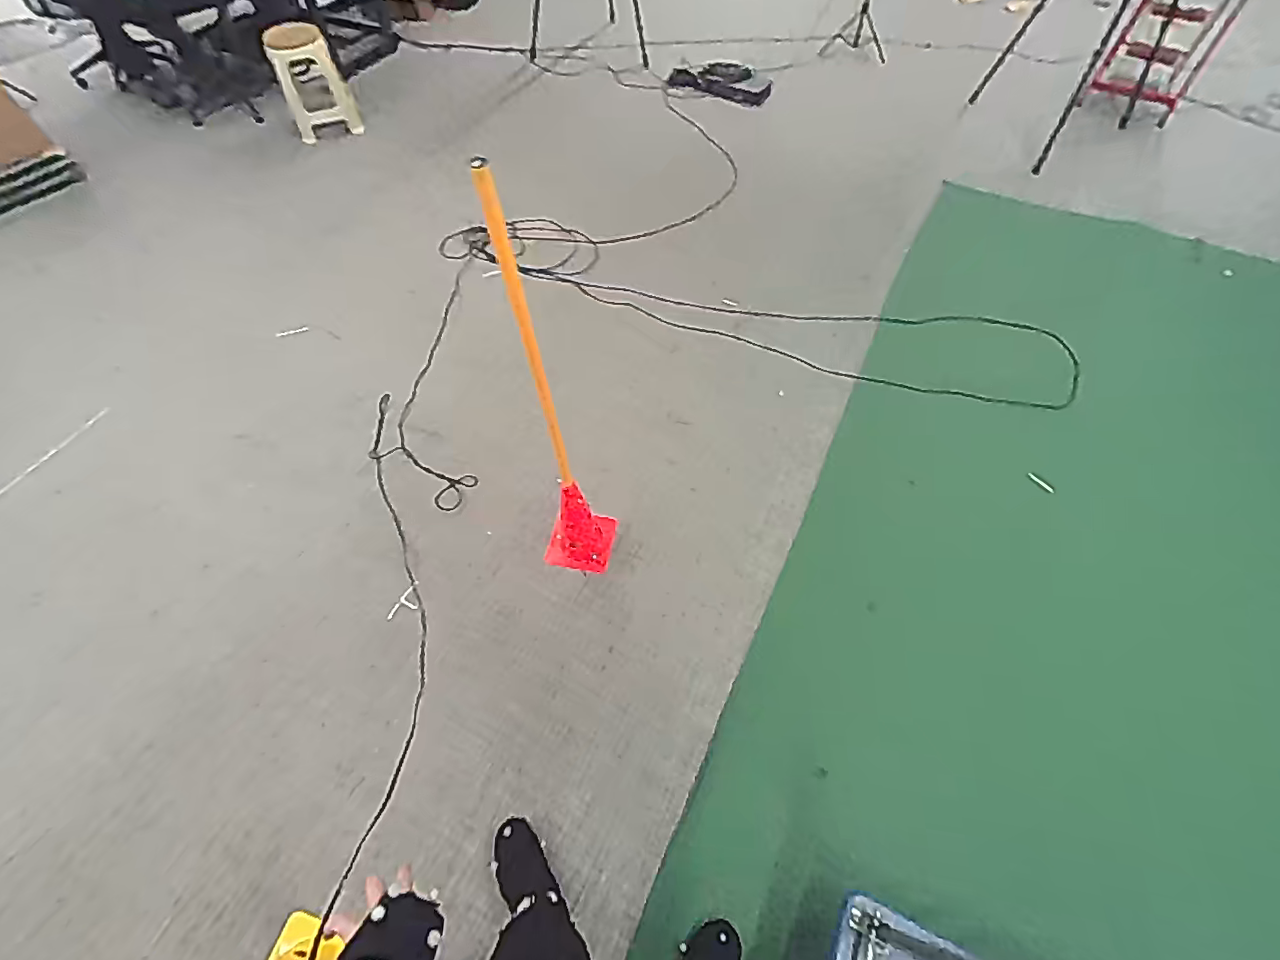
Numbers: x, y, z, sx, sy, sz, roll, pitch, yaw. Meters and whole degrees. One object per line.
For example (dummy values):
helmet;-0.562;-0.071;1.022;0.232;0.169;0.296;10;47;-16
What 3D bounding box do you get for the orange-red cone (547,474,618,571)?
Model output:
orange-red cone;-0.182;0.094;1.588;0.198;0.360;0.199;11;57;7
